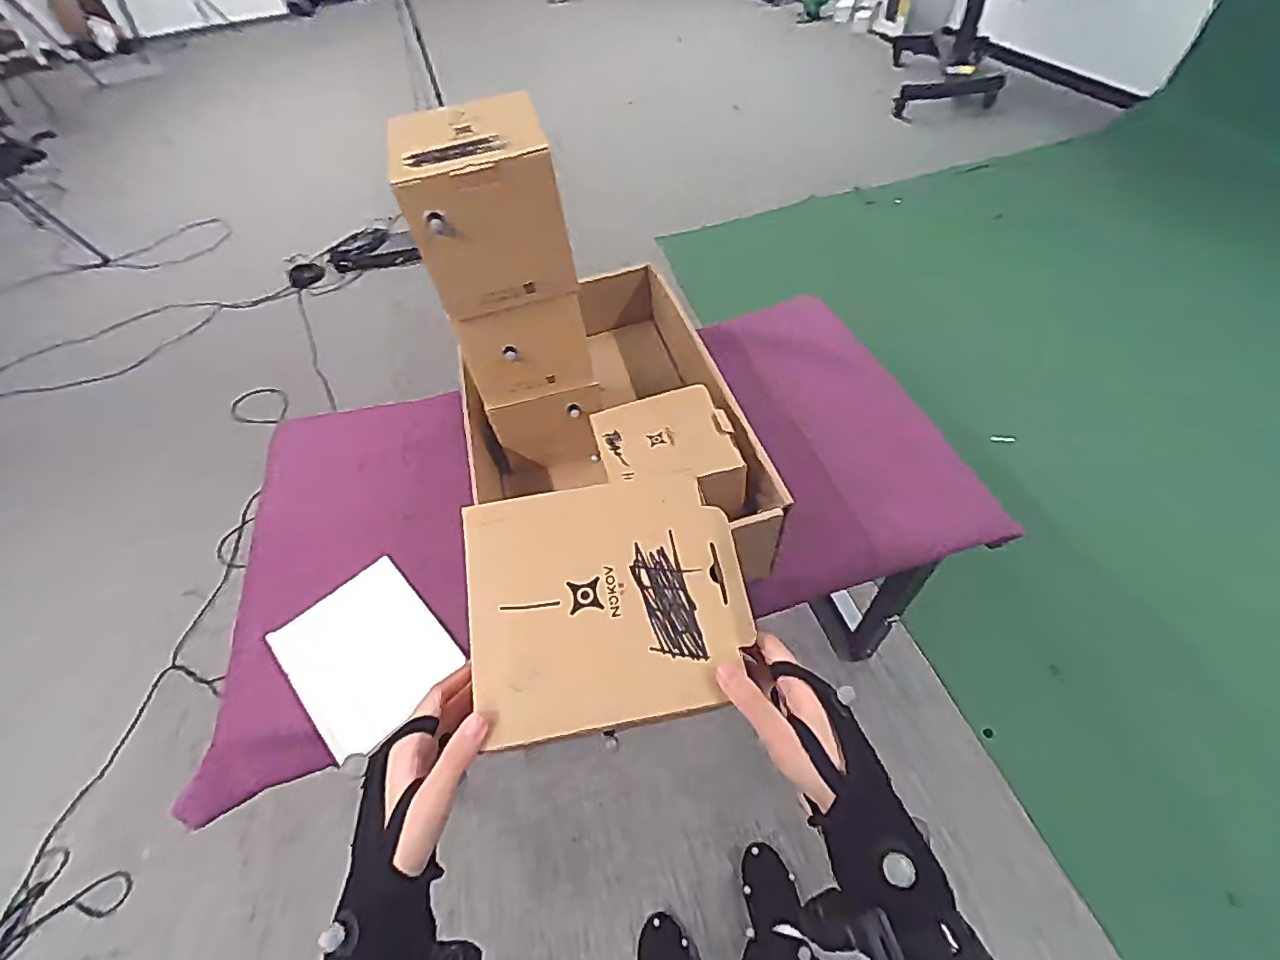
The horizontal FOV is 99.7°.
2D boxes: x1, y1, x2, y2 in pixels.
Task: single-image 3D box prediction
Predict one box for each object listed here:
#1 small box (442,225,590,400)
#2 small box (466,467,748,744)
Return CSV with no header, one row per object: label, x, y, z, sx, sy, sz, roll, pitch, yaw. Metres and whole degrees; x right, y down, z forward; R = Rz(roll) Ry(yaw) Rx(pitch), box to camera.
small box,-0.178,-0.238,0.796,0.168,0.176,0.179,-15,54,-5
small box,-0.031,0.109,0.439,0.179,0.176,0.168,-9,64,-5
